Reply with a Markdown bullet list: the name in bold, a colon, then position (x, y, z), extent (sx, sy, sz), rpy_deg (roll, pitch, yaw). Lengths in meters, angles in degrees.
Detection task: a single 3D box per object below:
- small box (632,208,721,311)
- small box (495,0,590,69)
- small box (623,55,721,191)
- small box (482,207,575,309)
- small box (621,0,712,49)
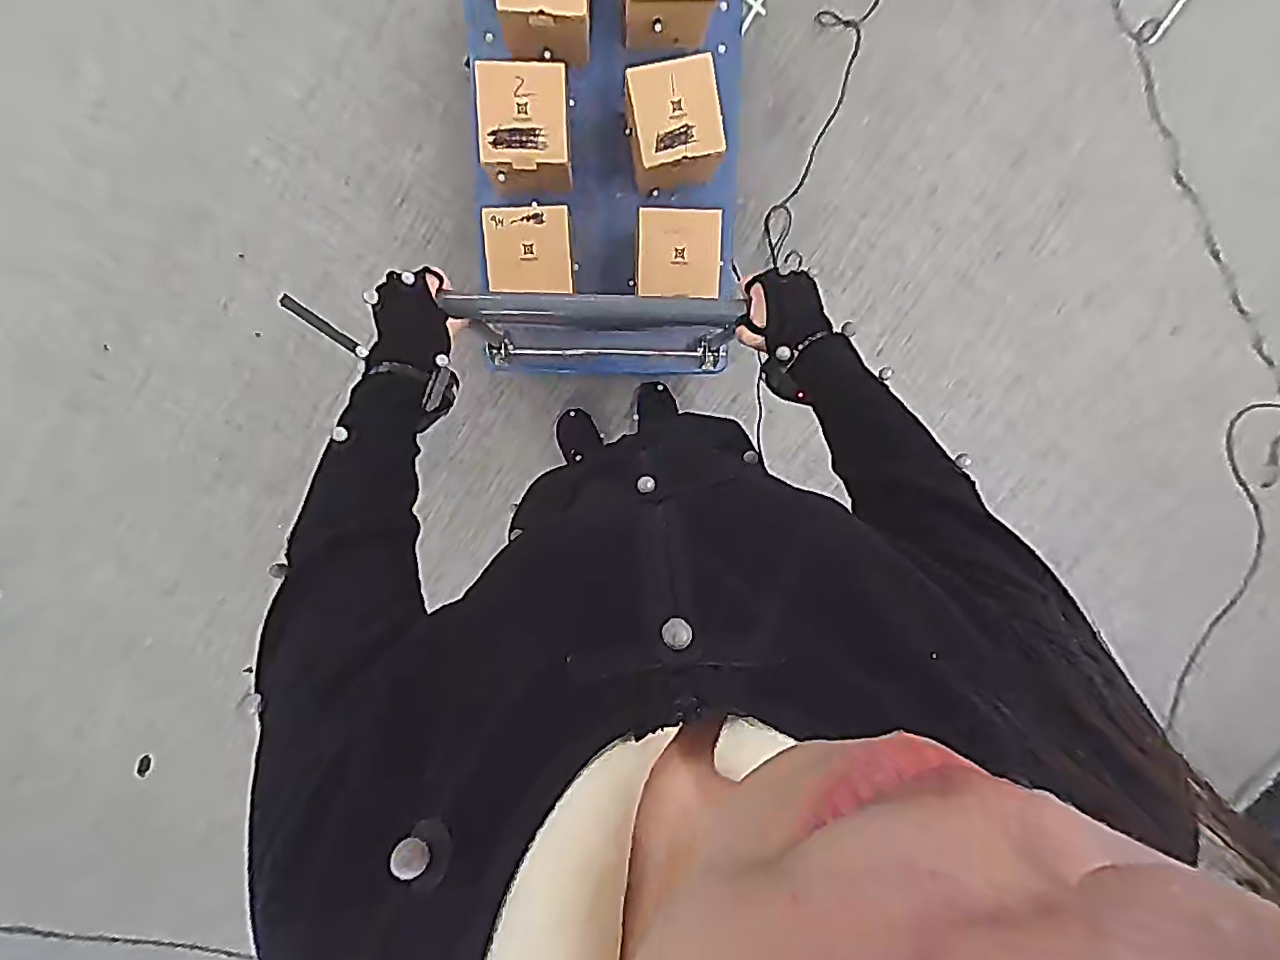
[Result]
- **small box**: position (0.071, -0.462, 1.157), extent (0.168, 0.176, 0.179), rpy_deg (1, 100, -4)
- **small box**: position (-0.184, -0.945, 1.047), extent (0.168, 0.176, 0.179), rpy_deg (2, 102, -4)
- **small box**: position (0.061, -0.715, 1.108), extent (0.168, 0.176, 0.179), rpy_deg (-11, 100, -2)
- **small box**: position (-0.226, -0.457, 1.138), extent (0.168, 0.176, 0.179), rpy_deg (-3, 101, -4)
- **small box**: position (0.048, -0.983, 1.057), extent (0.168, 0.176, 0.179), rpy_deg (-3, 101, -3)
